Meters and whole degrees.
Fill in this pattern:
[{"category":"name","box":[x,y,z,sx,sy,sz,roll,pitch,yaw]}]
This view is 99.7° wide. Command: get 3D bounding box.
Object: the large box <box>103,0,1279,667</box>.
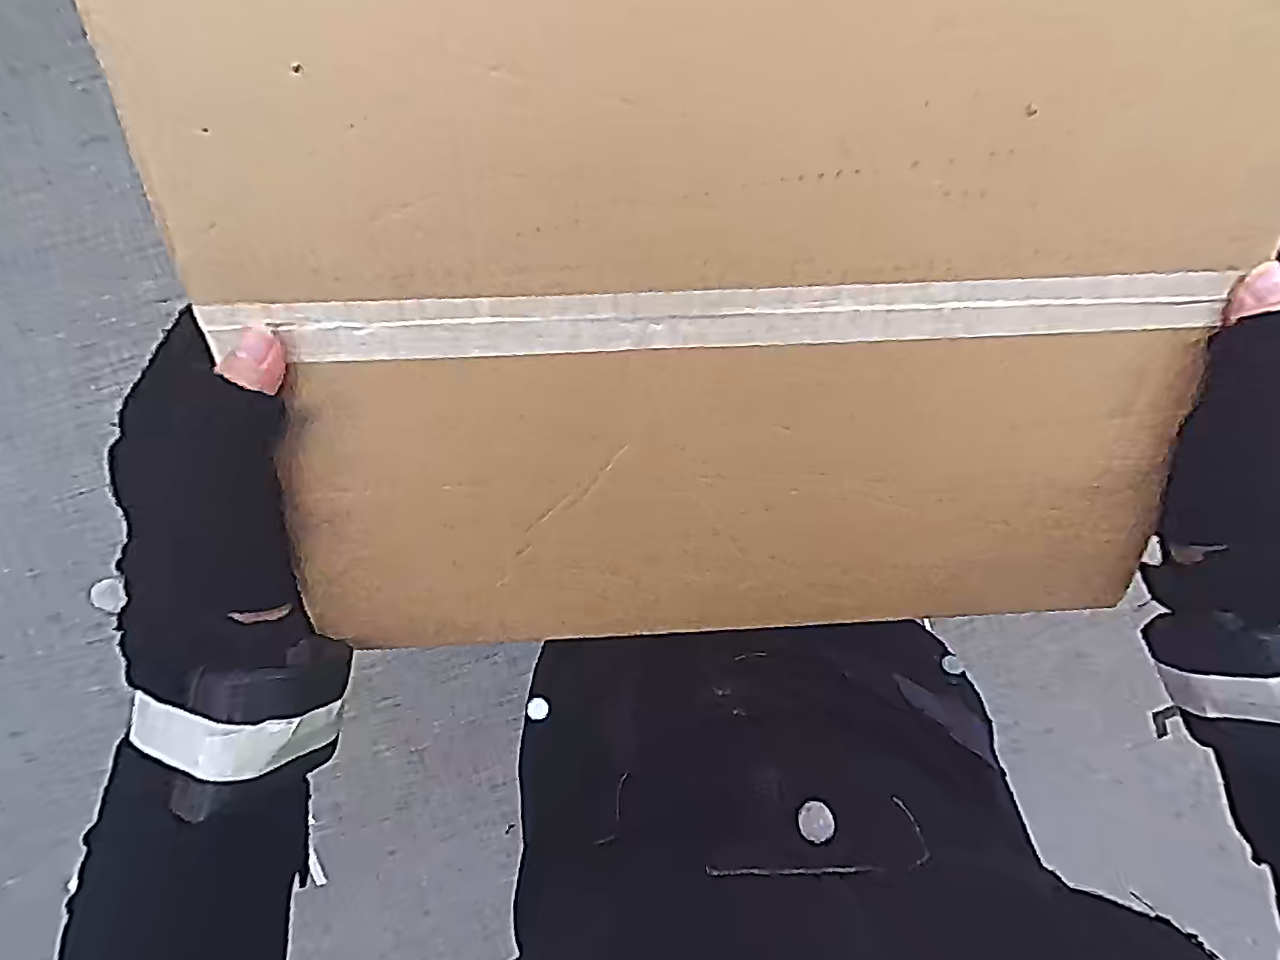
[{"category":"large box","box":[0.035,-0.118,0.352,0.408,0.320,0.320,-3,116,-3]}]
